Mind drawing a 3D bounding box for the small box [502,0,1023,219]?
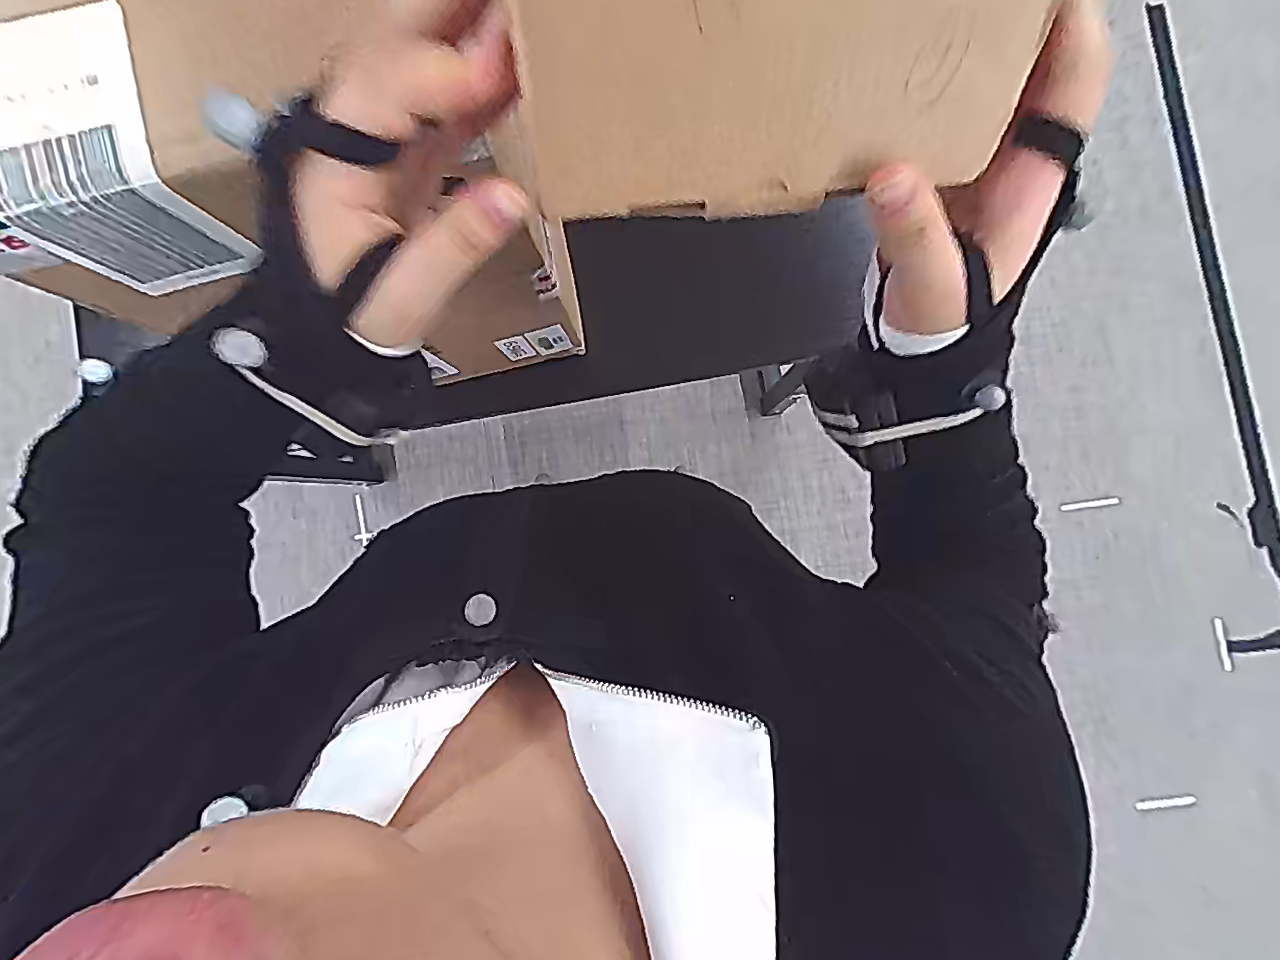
[{"bbox_3d":[0.031,-0.223,0.199,0.168,0.179,0.176,-7,48,-5],"label":"small box"}]
